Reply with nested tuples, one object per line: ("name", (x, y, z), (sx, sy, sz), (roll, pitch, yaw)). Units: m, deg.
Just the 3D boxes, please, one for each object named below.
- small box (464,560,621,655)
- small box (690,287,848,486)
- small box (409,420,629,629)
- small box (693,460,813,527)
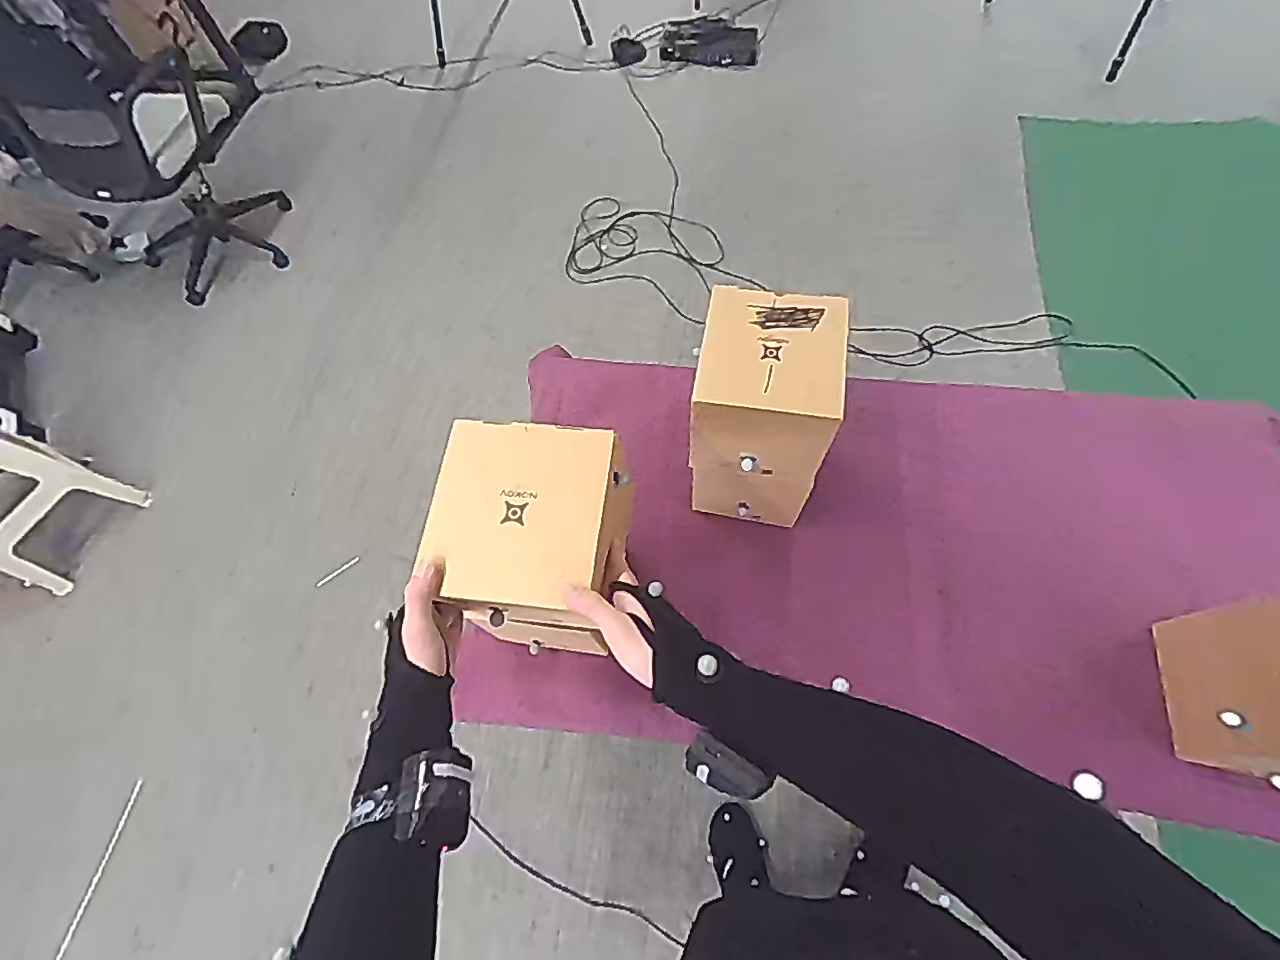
("small box", (-0.124, 0.139, 0.776), (0.168, 0.176, 0.179), (6, 64, 8))
("small box", (0.157, -0.115, 0.693), (0.168, 0.176, 0.179), (9, 66, 9))
("small box", (-0.109, 0.056, 0.572), (0.168, 0.176, 0.179), (5, 69, 7))
("small box", (0.177, -0.047, 0.842), (0.168, 0.176, 0.179), (11, 66, 10))
